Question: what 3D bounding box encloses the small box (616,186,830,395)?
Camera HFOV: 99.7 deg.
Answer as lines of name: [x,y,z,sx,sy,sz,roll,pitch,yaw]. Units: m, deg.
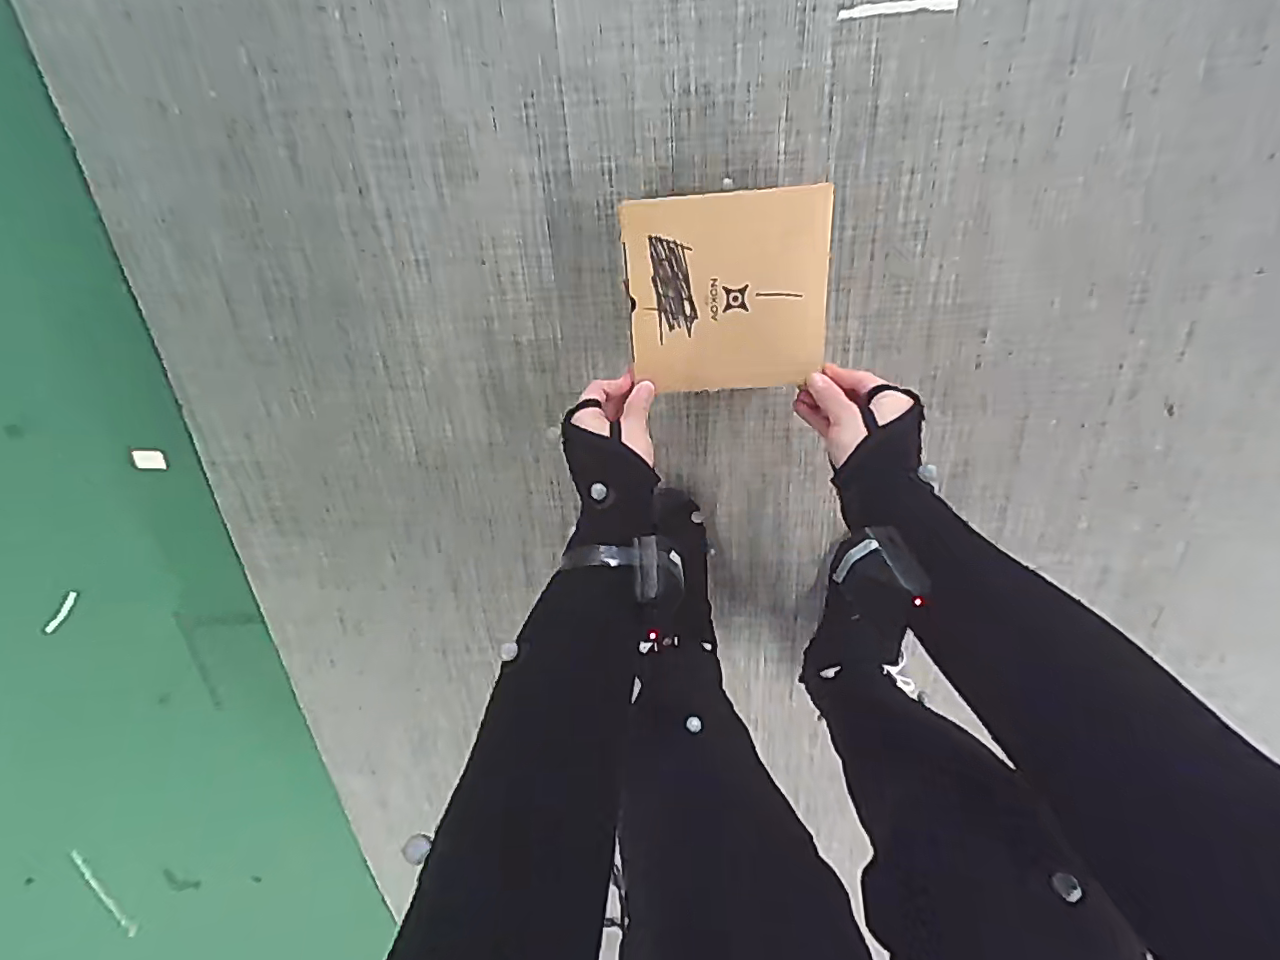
small box: [0.076,-0.188,0.543,0.179,0.176,0.168,-4,114,4]
